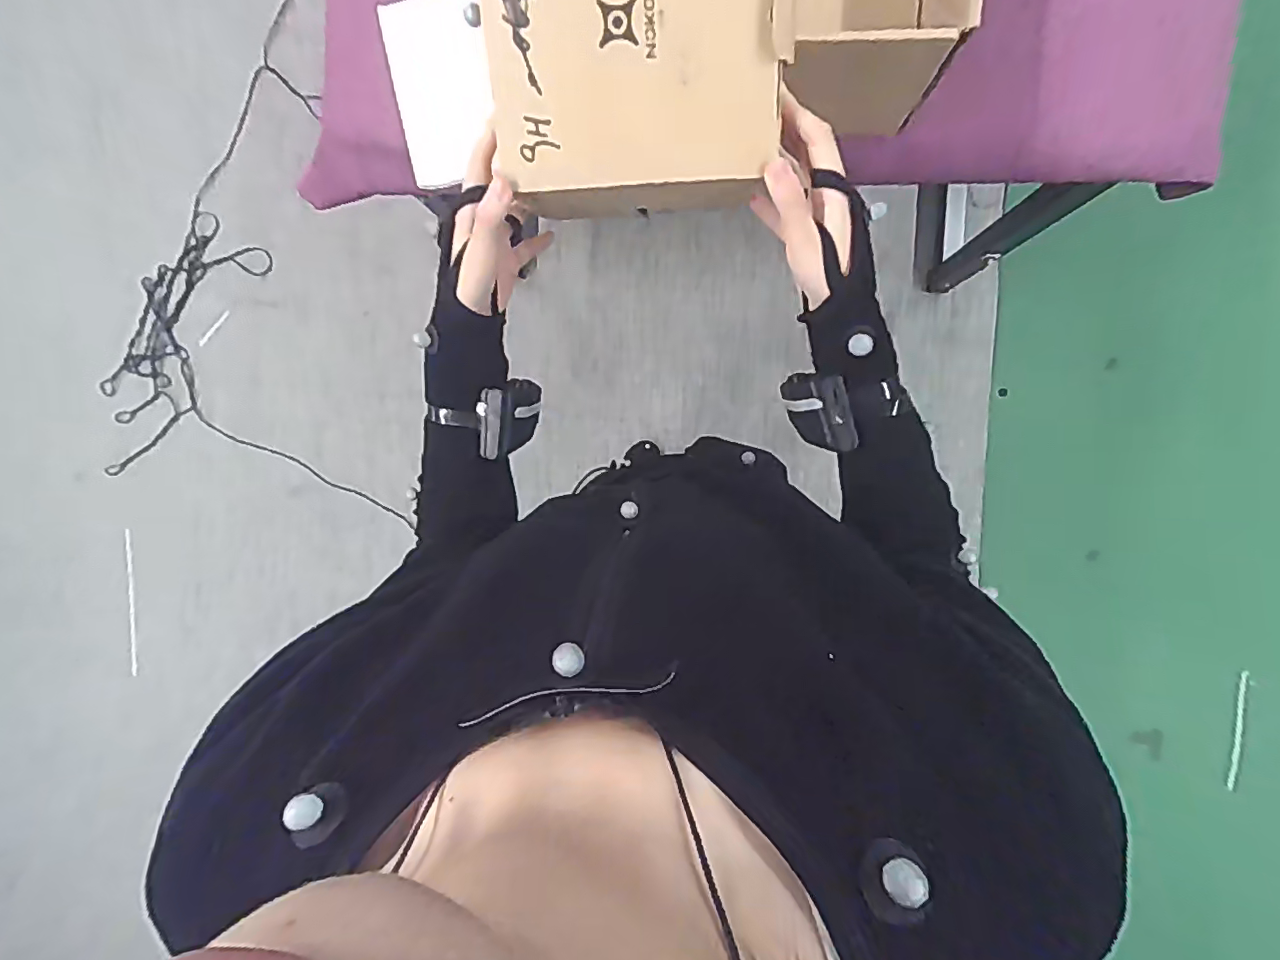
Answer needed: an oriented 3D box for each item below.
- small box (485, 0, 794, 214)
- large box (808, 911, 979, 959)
[{"bbox_3d":[-0.002,-0.288,0.378,0.179,0.176,0.168,-3,109,0],"label":"small box"},{"bbox_3d":[0.690,1.391,1.376,0.408,0.320,0.320,-12,93,5],"label":"large box"}]
